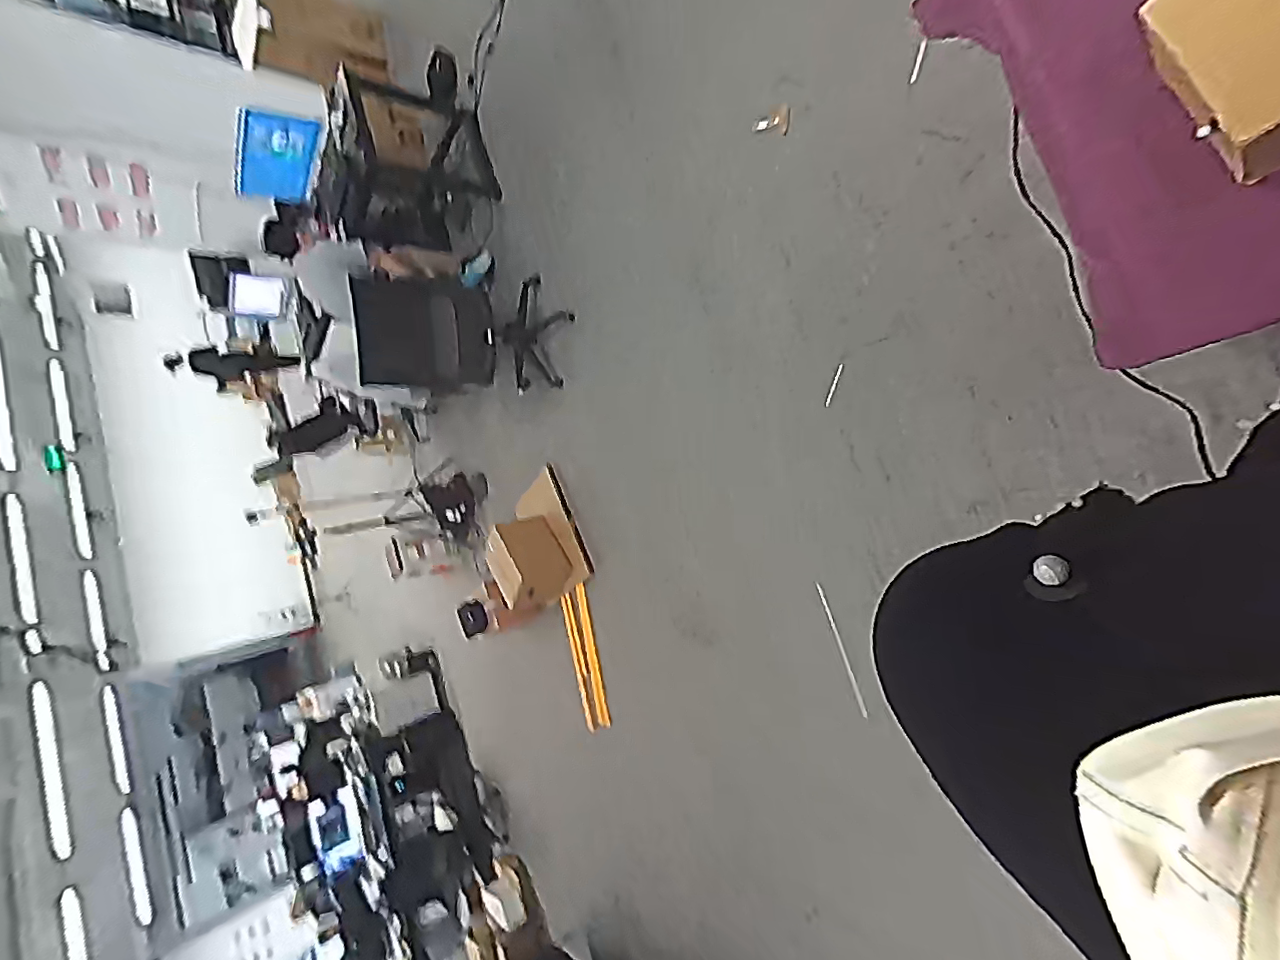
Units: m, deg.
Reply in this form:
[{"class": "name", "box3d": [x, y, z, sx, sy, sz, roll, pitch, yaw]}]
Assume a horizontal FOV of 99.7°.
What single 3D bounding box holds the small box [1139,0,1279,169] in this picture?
[{"class": "small box", "box3d": [0.621, -0.432, 0.506, 0.168, 0.176, 0.179, -35, 72, 47]}]
